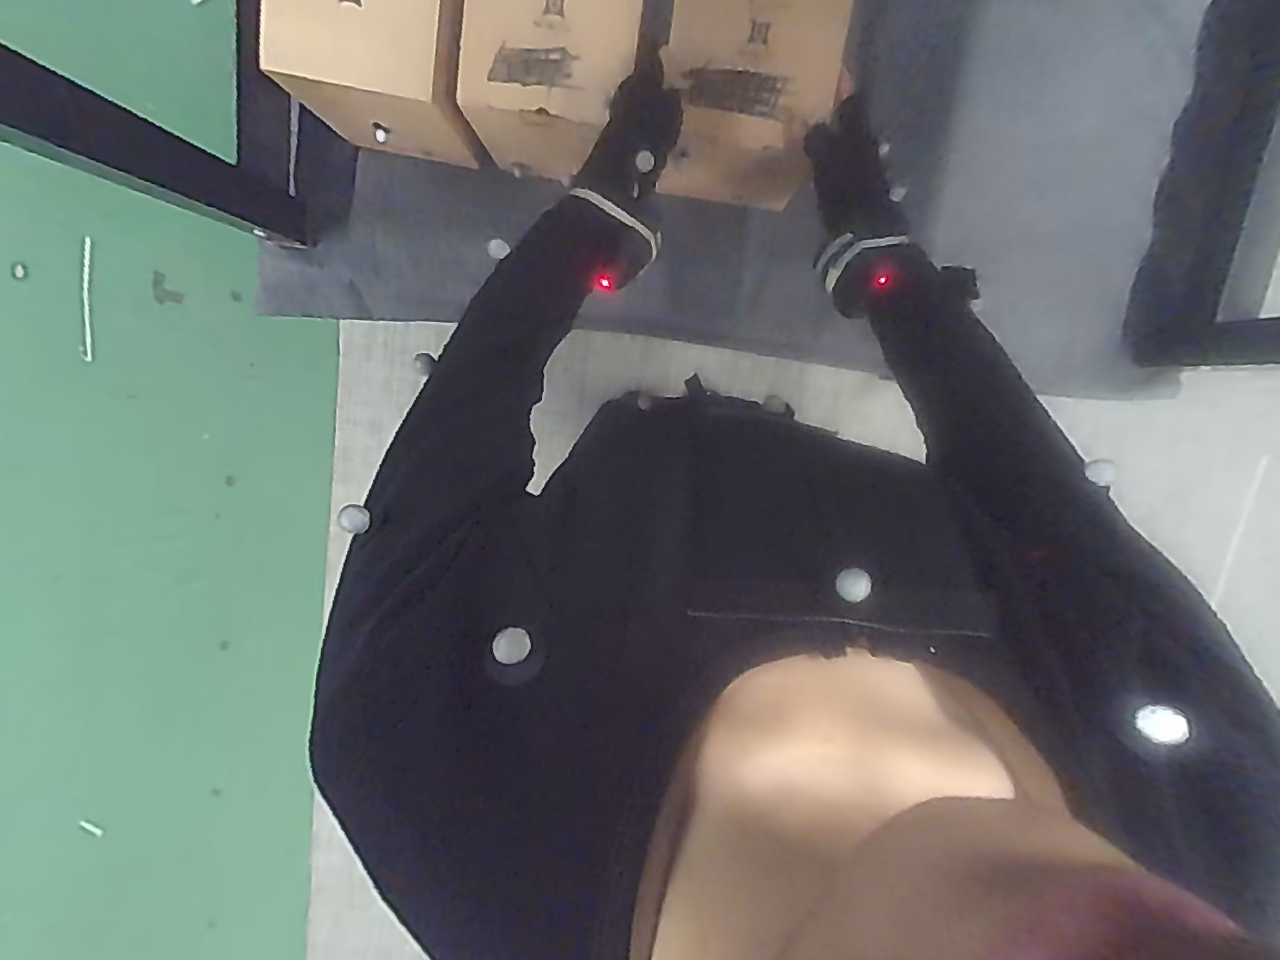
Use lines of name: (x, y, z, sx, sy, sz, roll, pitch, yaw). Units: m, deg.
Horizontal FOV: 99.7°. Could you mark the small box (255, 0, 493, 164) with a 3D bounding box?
small box: (-0.263, -0.466, 0.569, 0.168, 0.176, 0.179, 10, 100, -3)
